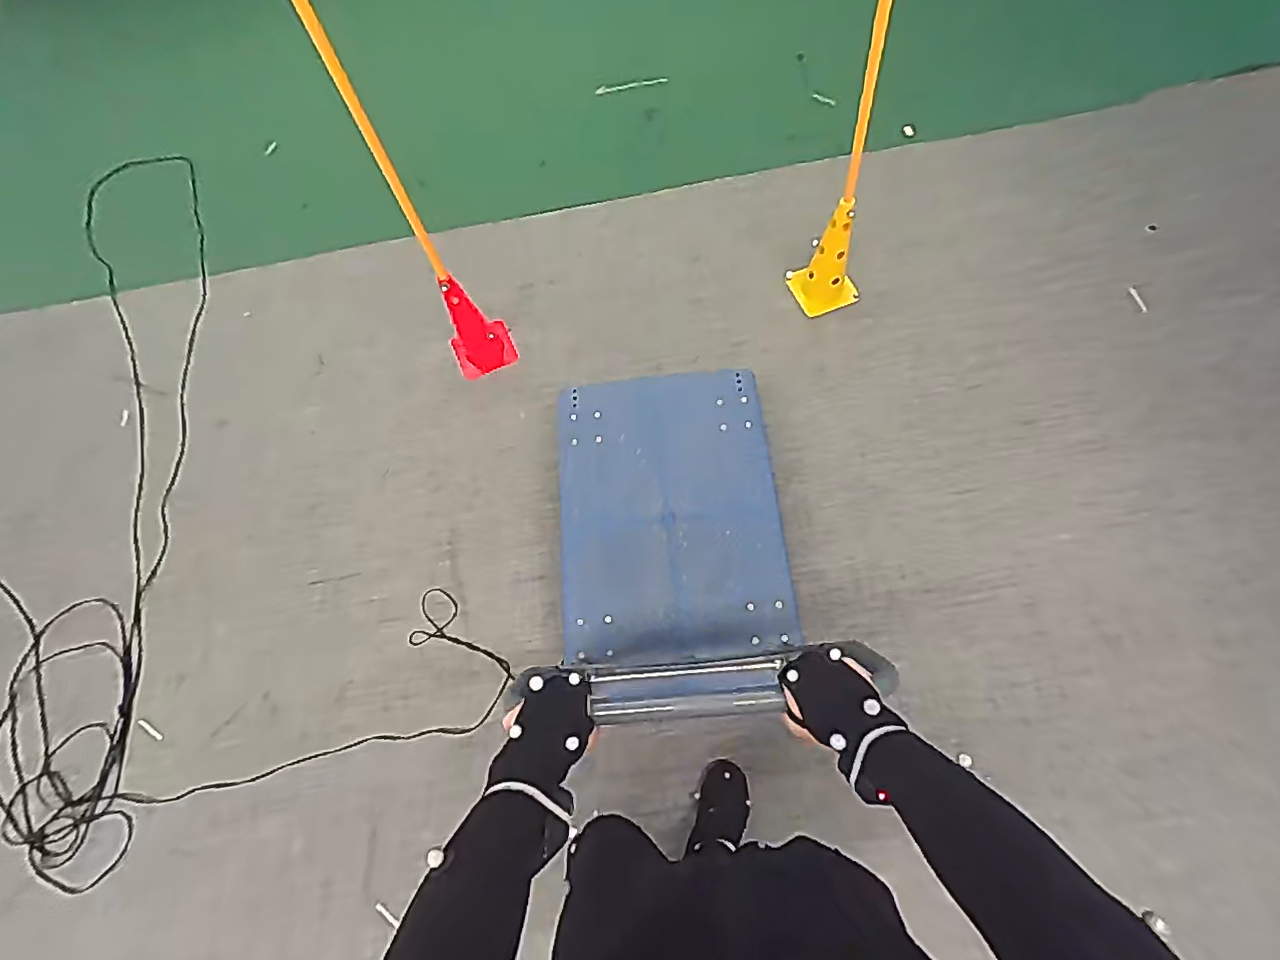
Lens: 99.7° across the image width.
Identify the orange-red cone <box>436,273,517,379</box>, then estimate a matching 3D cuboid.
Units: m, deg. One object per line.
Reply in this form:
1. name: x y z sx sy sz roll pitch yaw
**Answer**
1. orange-red cone: -0.556 -0.516 1.722 0.199 0.360 0.198 -24 67 -4
